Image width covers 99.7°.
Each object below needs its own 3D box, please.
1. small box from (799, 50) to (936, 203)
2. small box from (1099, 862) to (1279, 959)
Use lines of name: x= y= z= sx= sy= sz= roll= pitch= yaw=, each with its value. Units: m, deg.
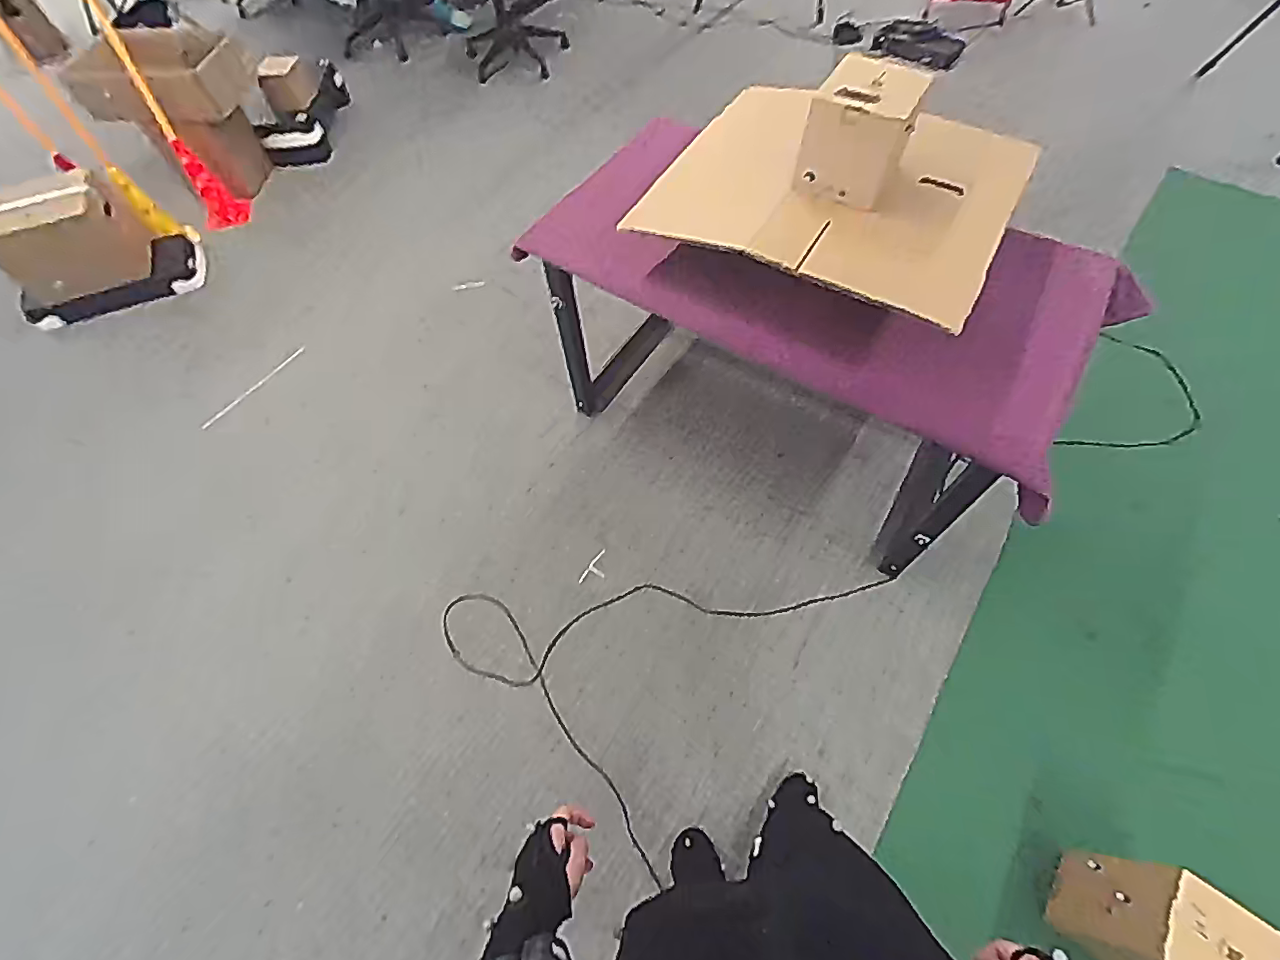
small box: x=0.418 y=-0.661 z=1.020 sx=0.168 sy=0.176 sz=0.179 roll=28 pitch=65 yaw=15
small box: x=1.008 y=0.838 z=0.989 sx=0.179 sy=0.176 sz=0.168 roll=34 pitch=66 yaw=19
